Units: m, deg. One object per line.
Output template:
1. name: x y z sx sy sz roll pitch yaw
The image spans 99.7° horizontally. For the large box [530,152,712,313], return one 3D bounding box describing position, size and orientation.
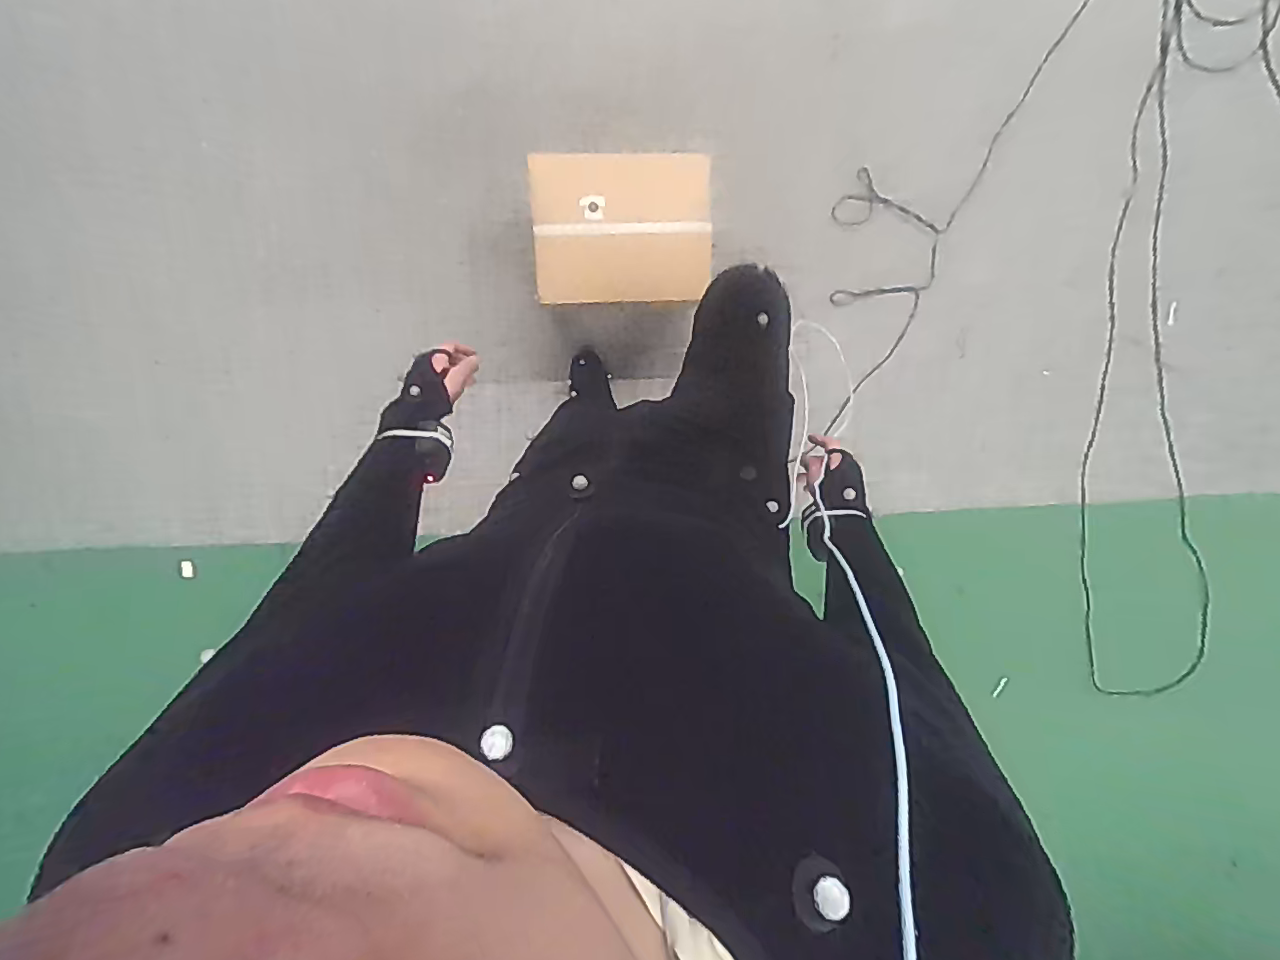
1. large box: -0.047 -0.601 1.371 0.408 0.320 0.320 -4 102 -4
